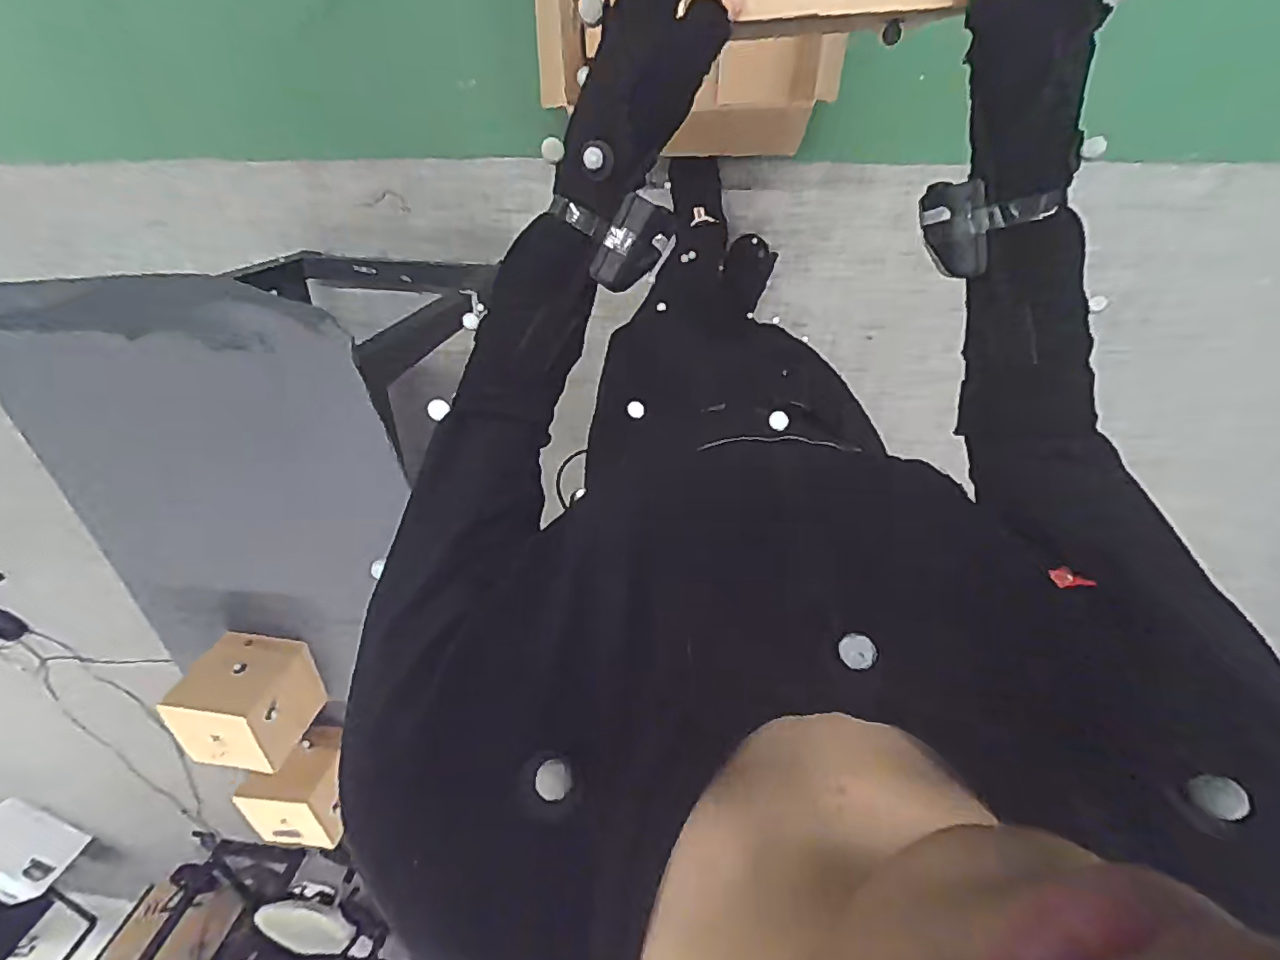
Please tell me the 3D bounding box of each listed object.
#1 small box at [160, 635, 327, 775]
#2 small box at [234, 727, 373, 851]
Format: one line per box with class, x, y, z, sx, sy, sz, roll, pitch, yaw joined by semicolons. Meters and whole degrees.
small box;-0.736;0.421;1.028;0.168;0.176;0.179;7;122;4
small box;-0.716;0.666;1.178;0.168;0.176;0.179;2;121;7
